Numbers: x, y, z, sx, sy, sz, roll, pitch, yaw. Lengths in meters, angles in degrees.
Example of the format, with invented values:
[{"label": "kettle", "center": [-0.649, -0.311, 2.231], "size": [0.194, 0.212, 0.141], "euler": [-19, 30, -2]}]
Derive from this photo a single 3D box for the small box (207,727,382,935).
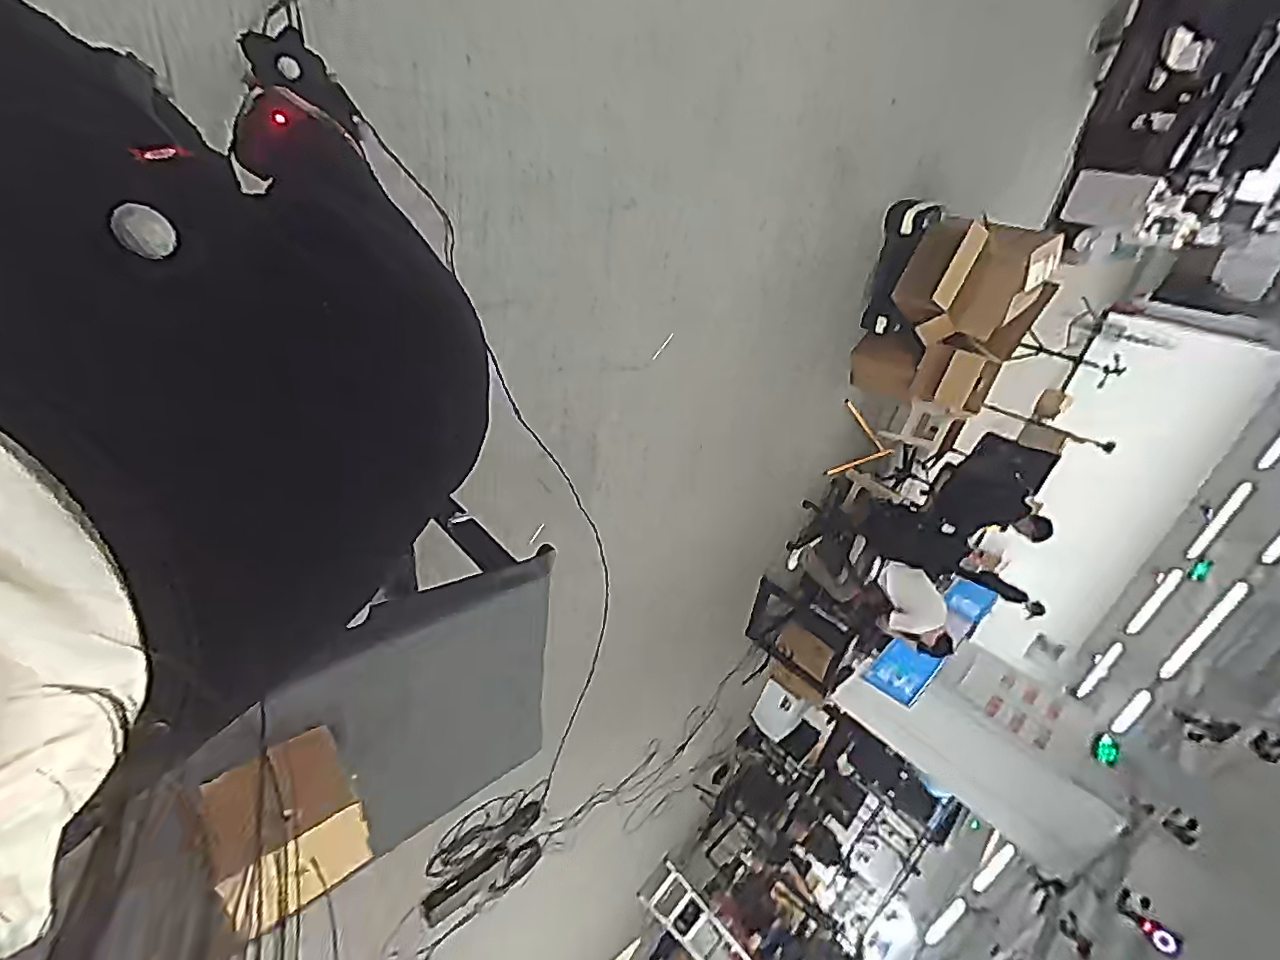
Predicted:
[{"label": "small box", "center": [-0.531, 0.528, 0.839], "size": [0.179, 0.176, 0.168], "euler": [-20, 129, -38]}]
